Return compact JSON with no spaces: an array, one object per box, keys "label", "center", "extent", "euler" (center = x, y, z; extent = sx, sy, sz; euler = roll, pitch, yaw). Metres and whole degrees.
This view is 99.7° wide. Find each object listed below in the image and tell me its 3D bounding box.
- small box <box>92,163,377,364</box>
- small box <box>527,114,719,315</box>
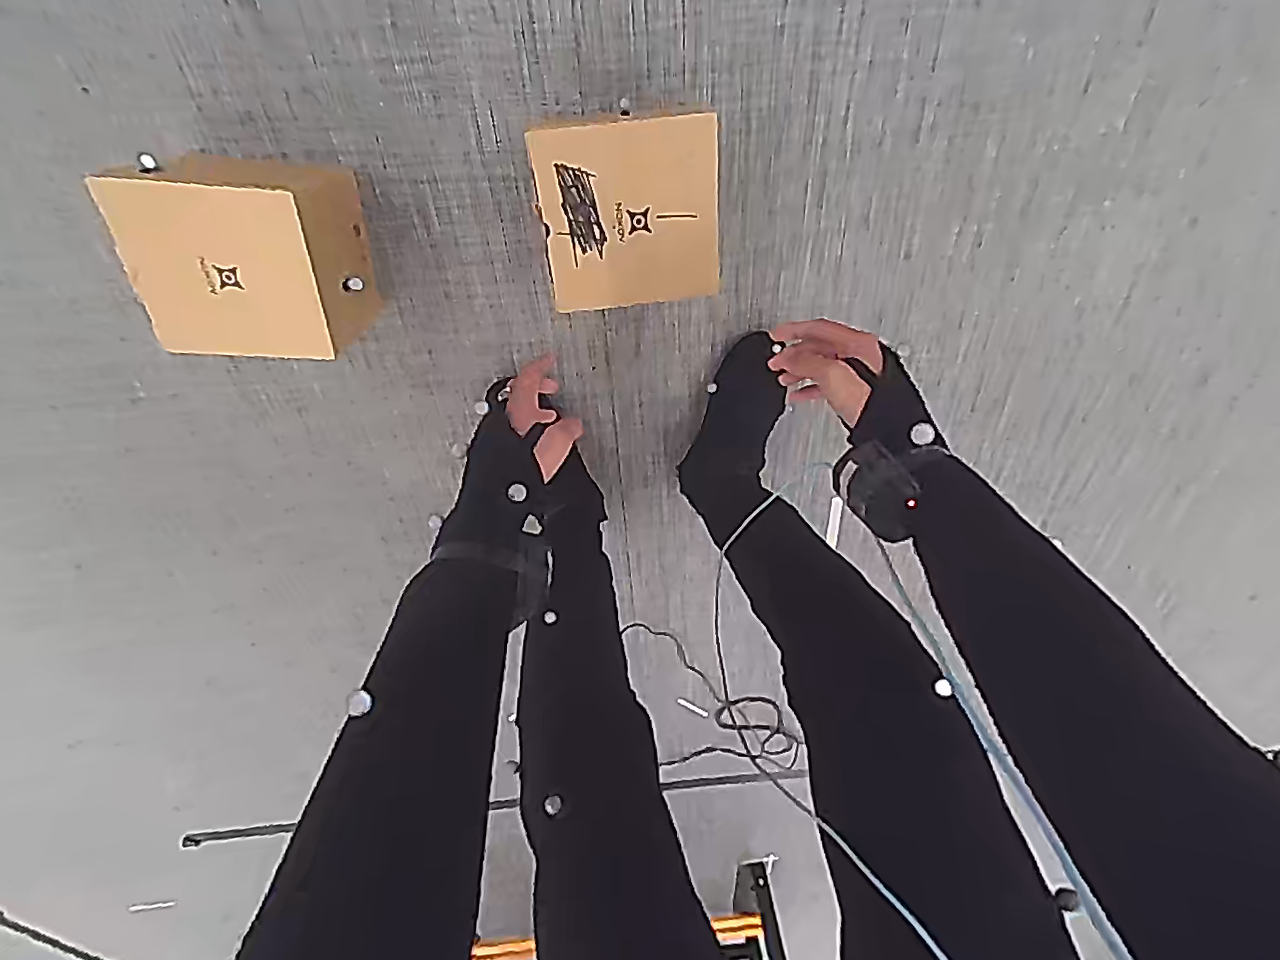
[{"label":"small box","center":[-0.409,-0.240,0.593],"extent":[0.179,0.176,0.168],"euler":[2,126,-6]},{"label":"small box","center":[-0.016,-0.294,0.591],"extent":[0.179,0.176,0.168],"euler":[-7,126,-2]}]
